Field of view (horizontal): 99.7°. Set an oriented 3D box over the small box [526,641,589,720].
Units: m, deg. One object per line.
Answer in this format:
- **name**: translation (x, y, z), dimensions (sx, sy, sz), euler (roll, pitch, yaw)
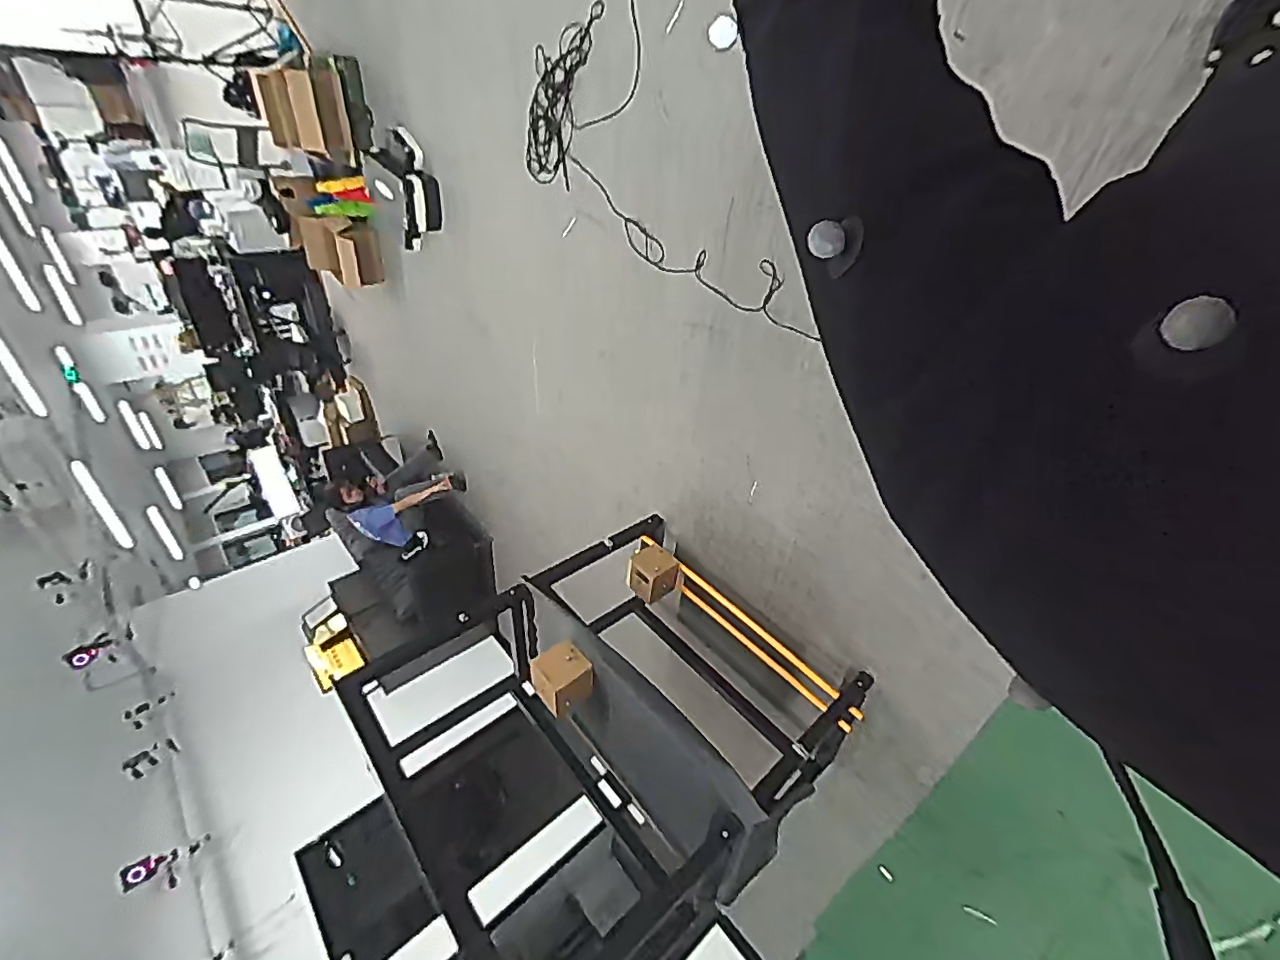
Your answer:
- **small box**: translation (-0.300, 0.734, 1.990), dimensions (0.168, 0.176, 0.179), euler (35, 135, 35)
